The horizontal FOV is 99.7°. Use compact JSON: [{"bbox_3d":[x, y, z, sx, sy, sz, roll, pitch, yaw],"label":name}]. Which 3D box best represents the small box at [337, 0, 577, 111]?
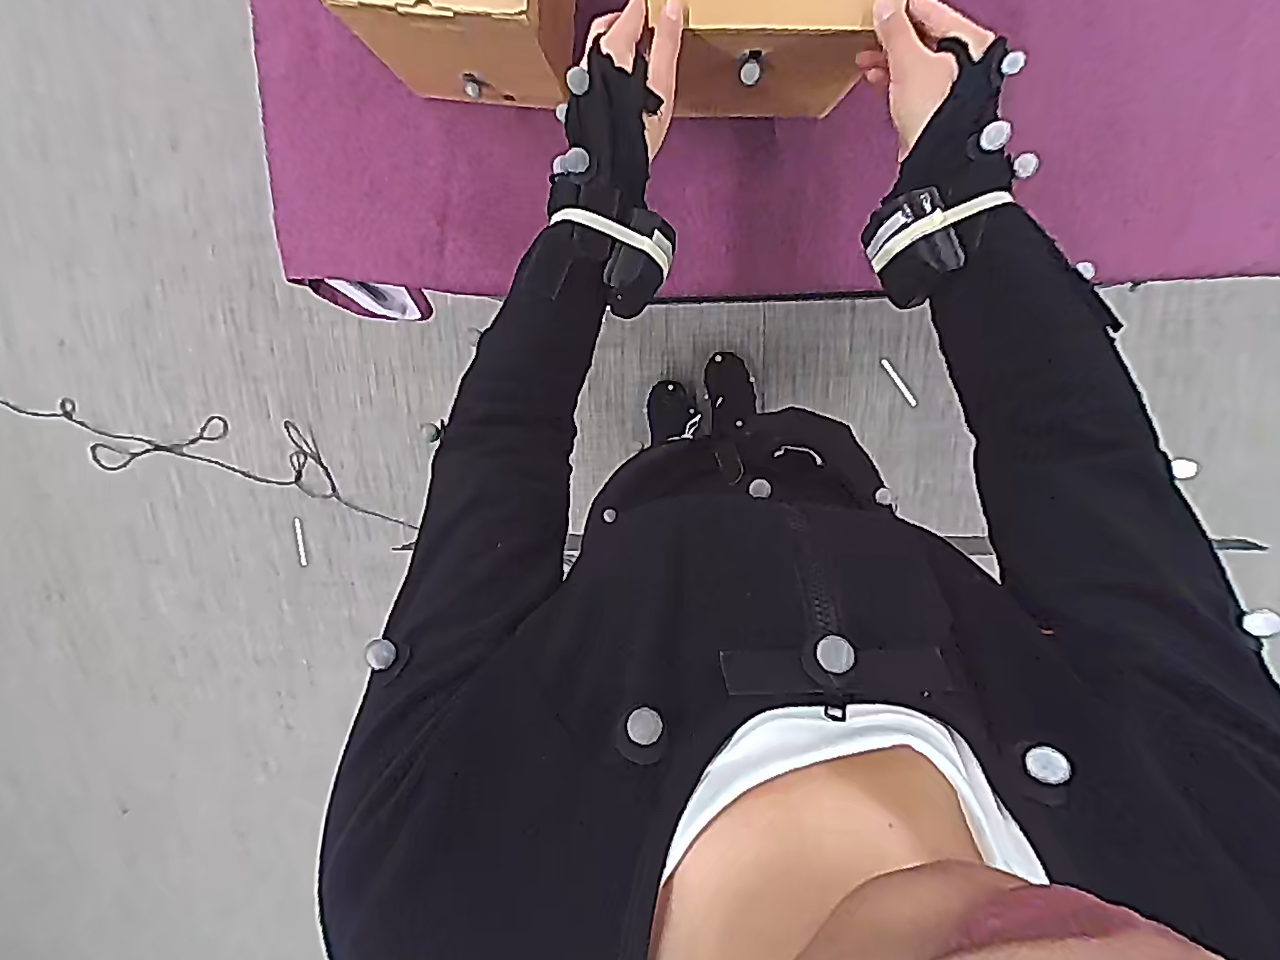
[{"bbox_3d":[-0.151,-0.464,0.473,0.168,0.176,0.179,6,103,2],"label":"small box"}]
